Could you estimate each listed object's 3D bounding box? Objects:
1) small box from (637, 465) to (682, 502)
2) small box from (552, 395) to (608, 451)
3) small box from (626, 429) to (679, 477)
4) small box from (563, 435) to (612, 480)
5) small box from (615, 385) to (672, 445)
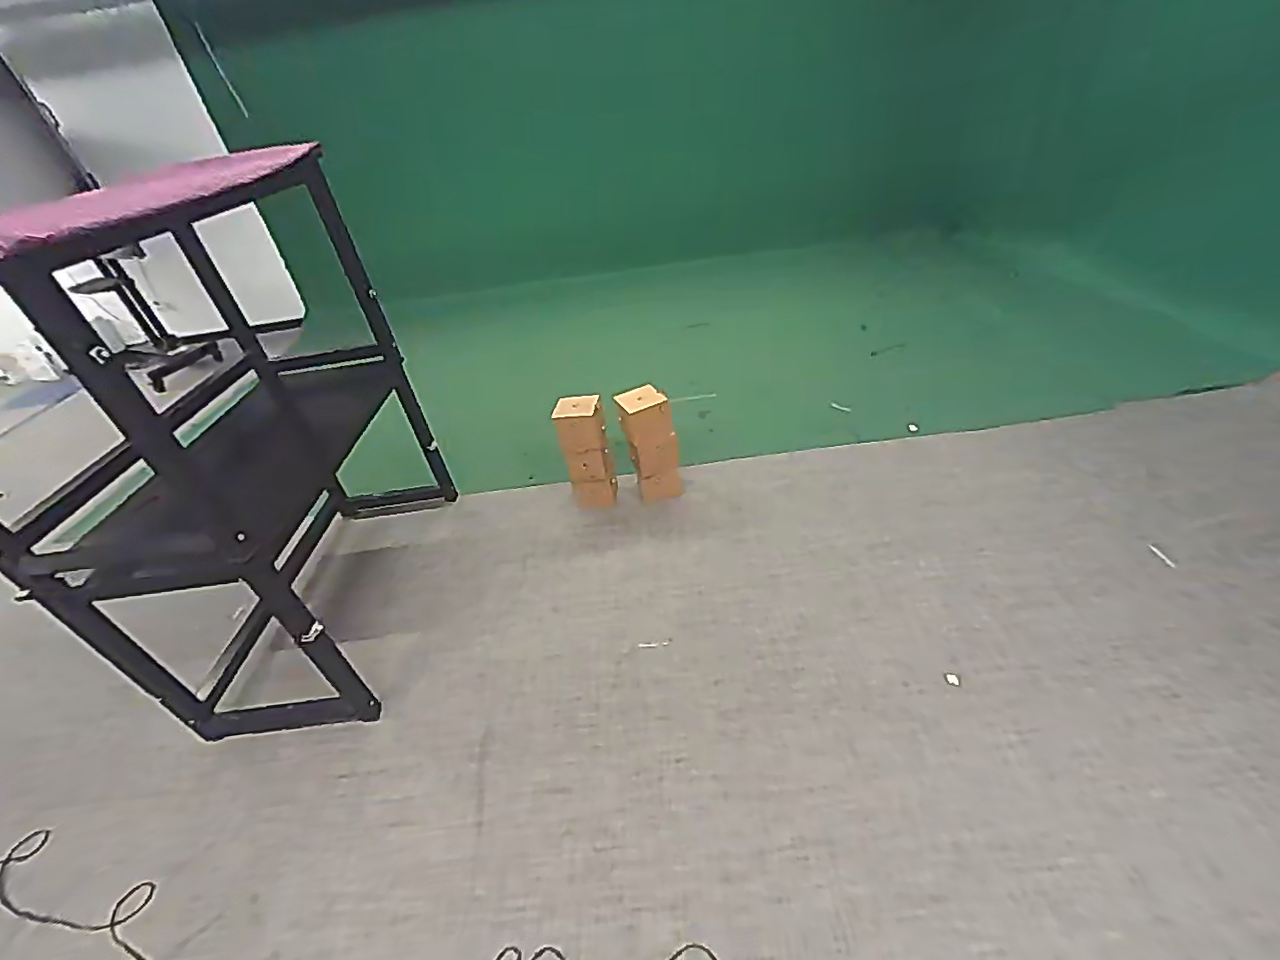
[{"bbox_3d":[0.084,-0.018,2.435,0.179,0.176,0.168,-11,37,-3],"label":"small box"},{"bbox_3d":[-0.244,-0.233,2.243,0.179,0.176,0.168,-2,38,11],"label":"small box"},{"bbox_3d":[0.055,-0.138,2.330,0.179,0.176,0.168,-19,40,-13],"label":"small box"},{"bbox_3d":[-0.222,-0.109,2.352,0.168,0.176,0.179,-4,38,8],"label":"small box"},{"bbox_3d":[0.017,-0.267,2.235,0.179,0.176,0.168,-22,40,-17],"label":"small box"}]
